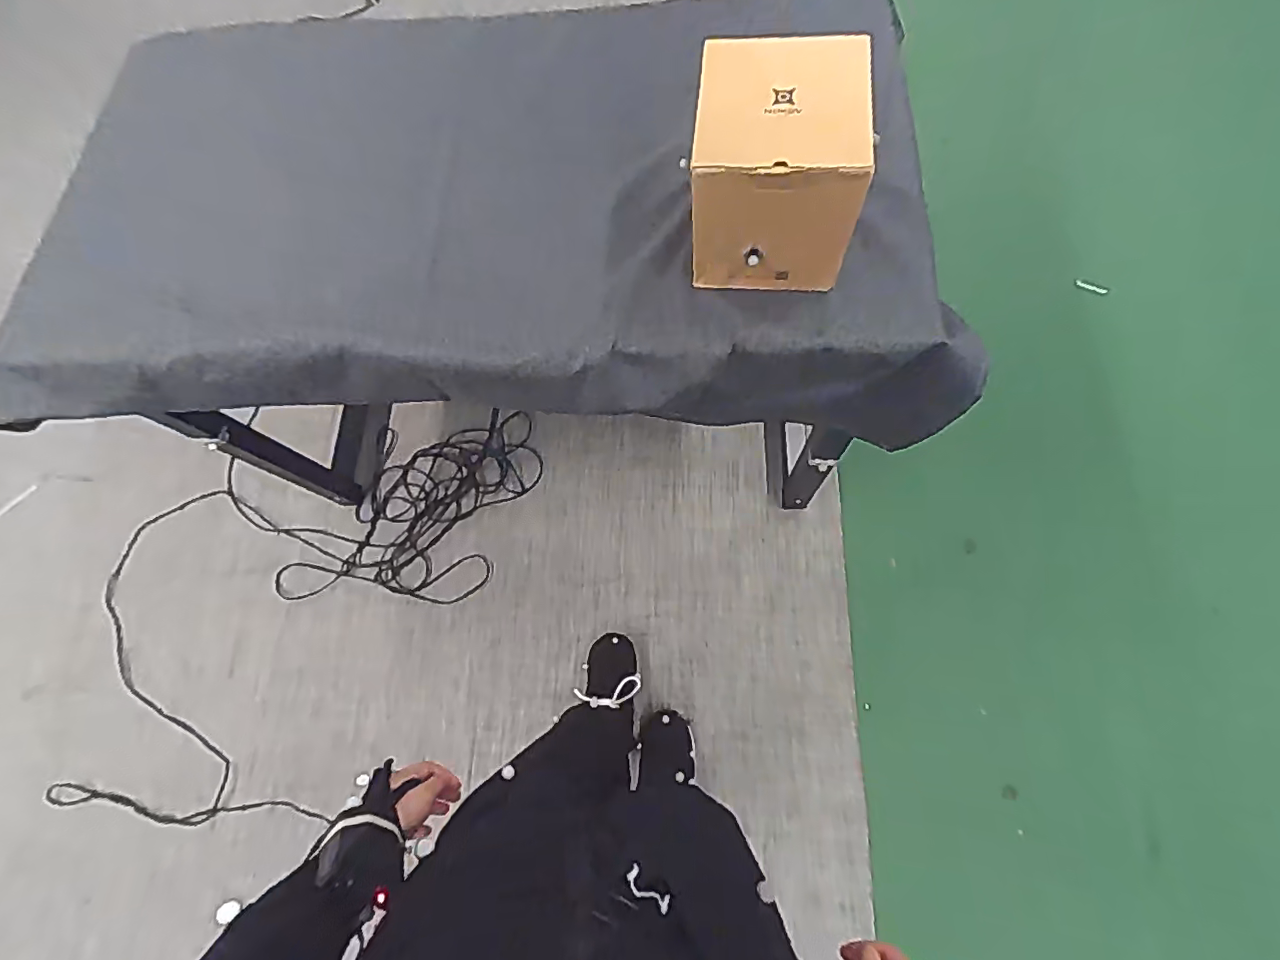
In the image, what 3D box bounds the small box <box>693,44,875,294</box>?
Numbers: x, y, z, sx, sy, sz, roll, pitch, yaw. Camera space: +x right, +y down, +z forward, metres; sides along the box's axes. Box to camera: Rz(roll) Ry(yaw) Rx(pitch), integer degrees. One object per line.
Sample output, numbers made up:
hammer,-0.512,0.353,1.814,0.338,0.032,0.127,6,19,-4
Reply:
small box,0.146,-0.334,0.597,0.168,0.176,0.179,4,71,7
